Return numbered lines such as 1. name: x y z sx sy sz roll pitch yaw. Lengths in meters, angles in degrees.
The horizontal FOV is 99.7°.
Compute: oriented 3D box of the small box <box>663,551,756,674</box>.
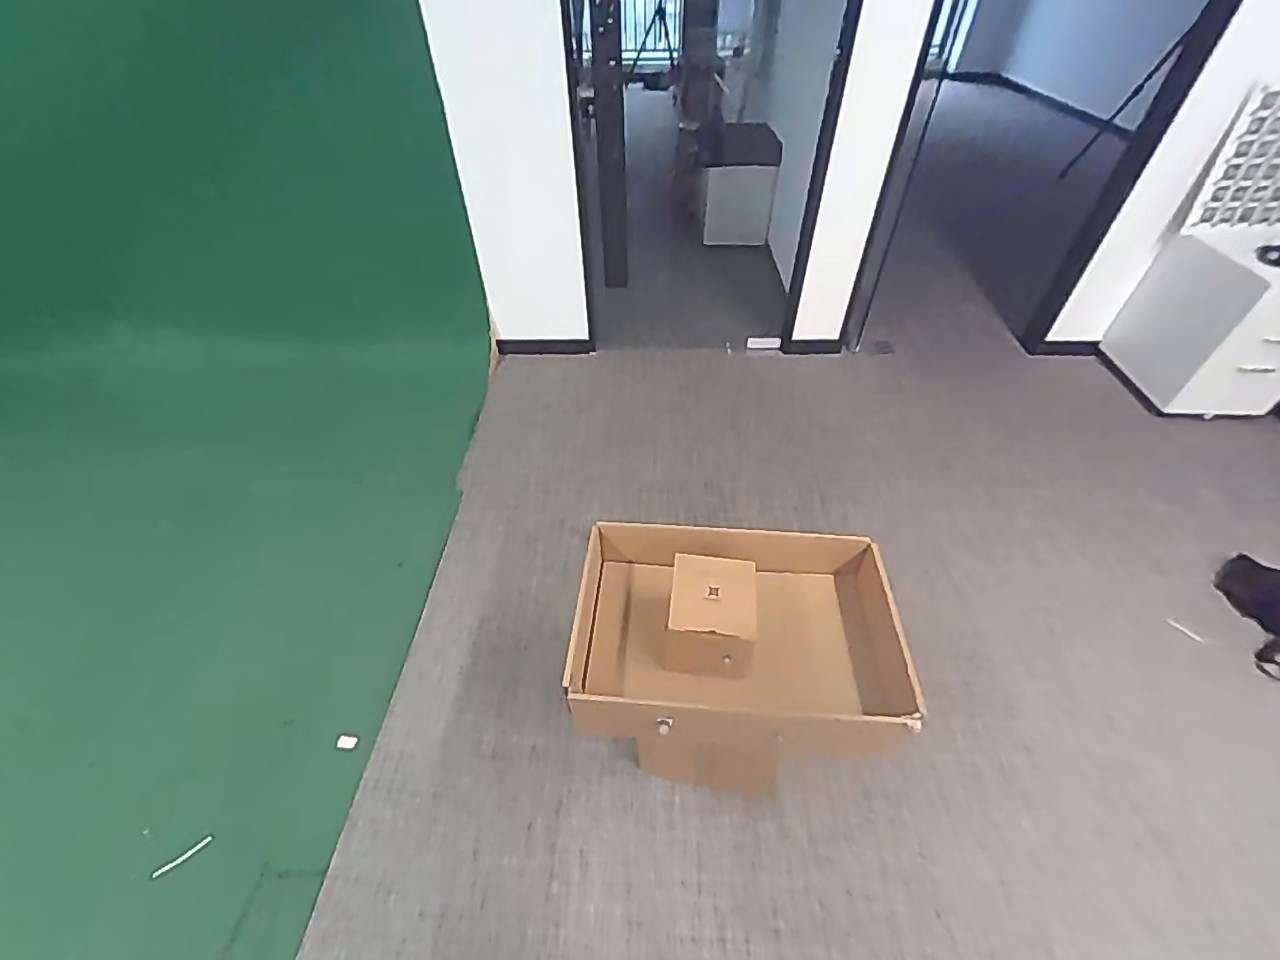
1. small box: 0.138 0.271 1.096 0.168 0.176 0.179 6 44 3
